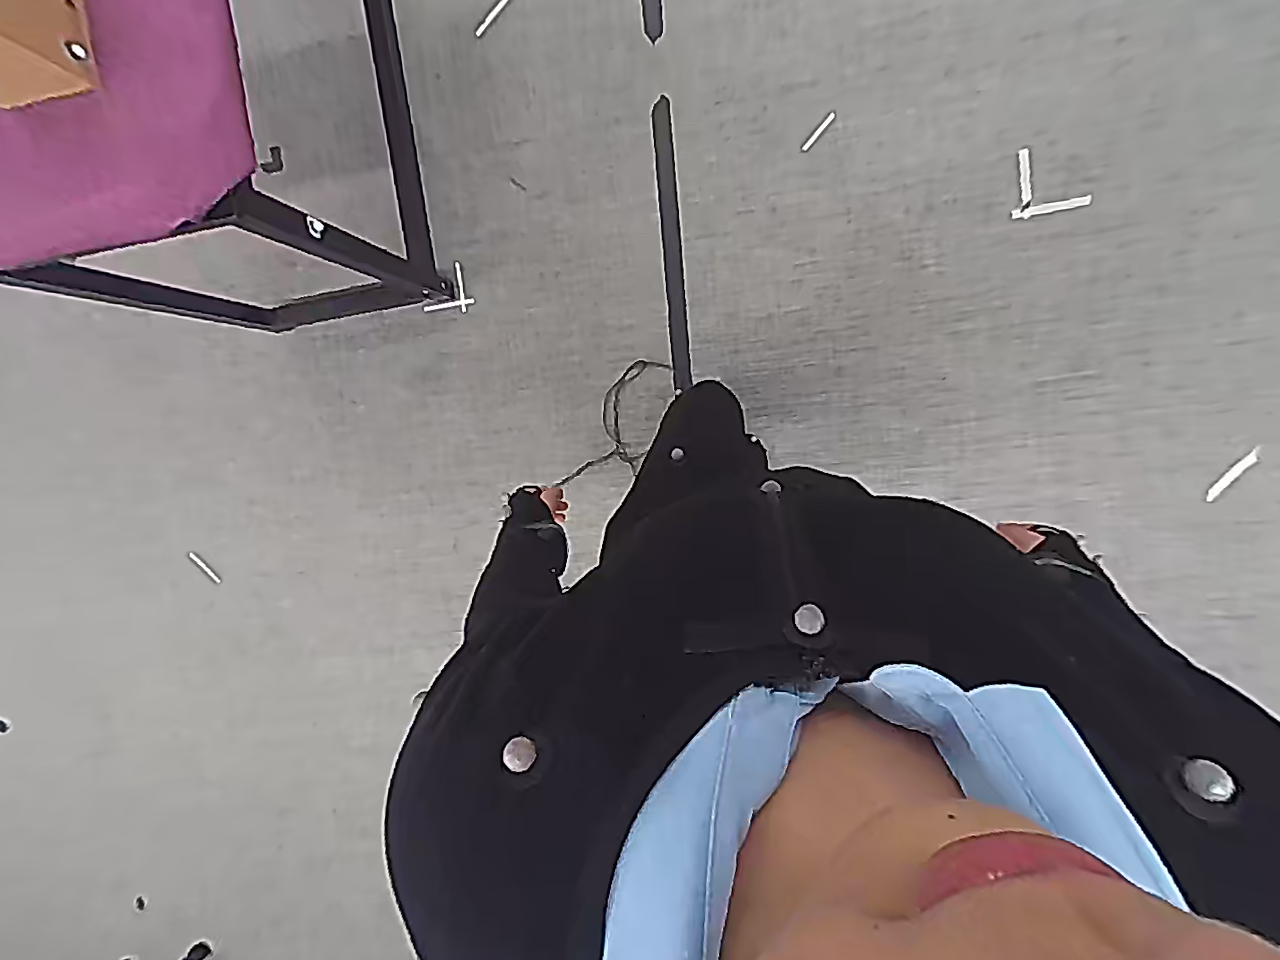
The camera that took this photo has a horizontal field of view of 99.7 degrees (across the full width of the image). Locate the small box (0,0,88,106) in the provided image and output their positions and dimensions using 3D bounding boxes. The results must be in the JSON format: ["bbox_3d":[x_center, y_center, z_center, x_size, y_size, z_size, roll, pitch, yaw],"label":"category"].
[{"bbox_3d":[-0.920,-0.656,0.742,0.179,0.176,0.168,-6,96,9],"label":"small box"}]
